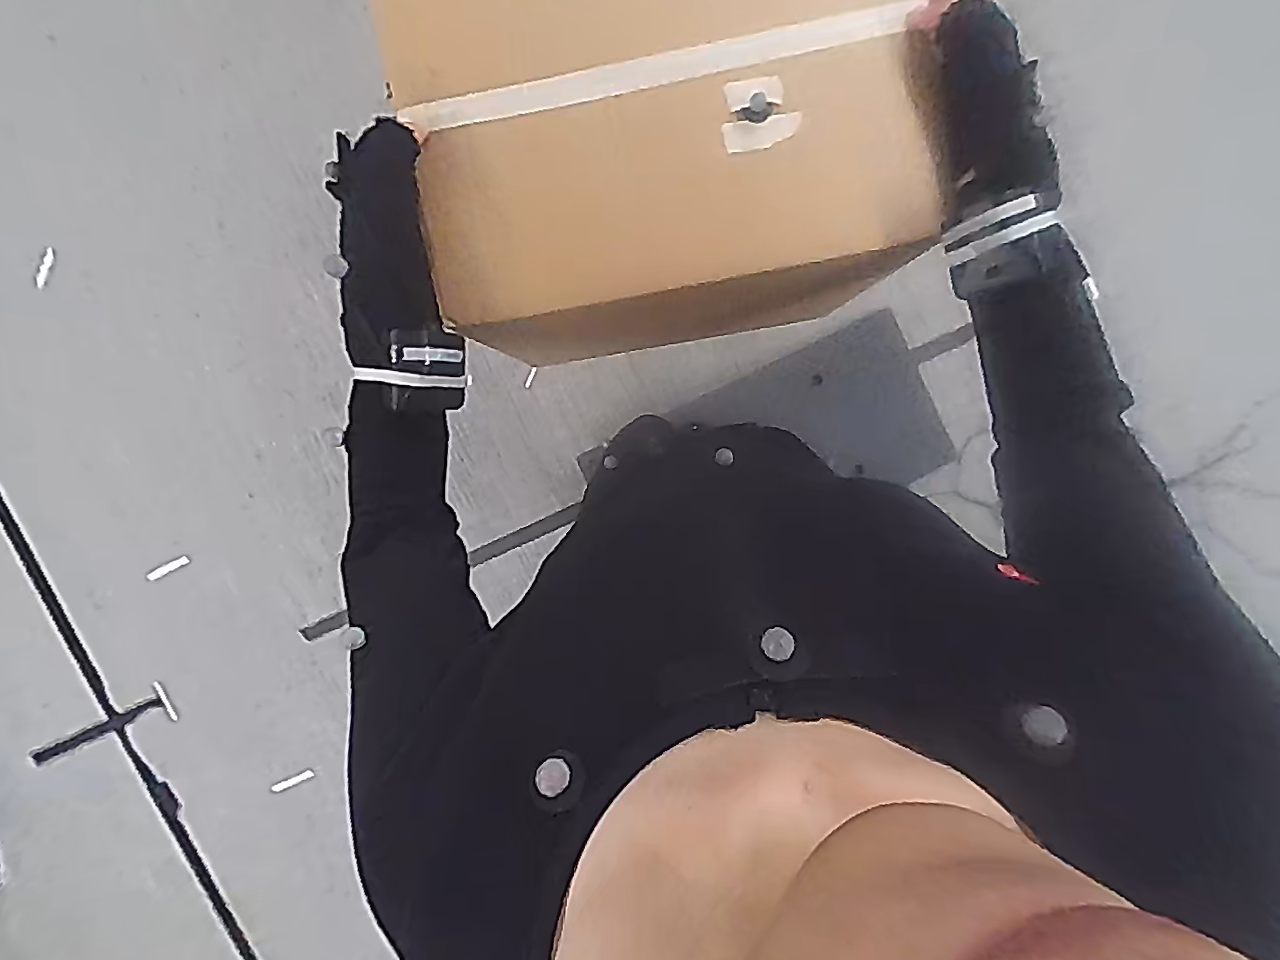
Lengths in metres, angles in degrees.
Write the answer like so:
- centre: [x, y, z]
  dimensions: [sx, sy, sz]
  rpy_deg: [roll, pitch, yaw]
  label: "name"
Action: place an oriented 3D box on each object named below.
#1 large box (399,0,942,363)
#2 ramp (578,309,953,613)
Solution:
- centre: [0.024, -0.328, 0.573]
  dimensions: [0.408, 0.320, 0.320]
  rpy_deg: [-9, 96, 2]
  label: "large box"
- centre: [0.372, -0.069, 1.533]
  dimensions: [0.991, 0.206, 0.509]
  rpy_deg: [-28, 91, 5]
  label: "ramp"
